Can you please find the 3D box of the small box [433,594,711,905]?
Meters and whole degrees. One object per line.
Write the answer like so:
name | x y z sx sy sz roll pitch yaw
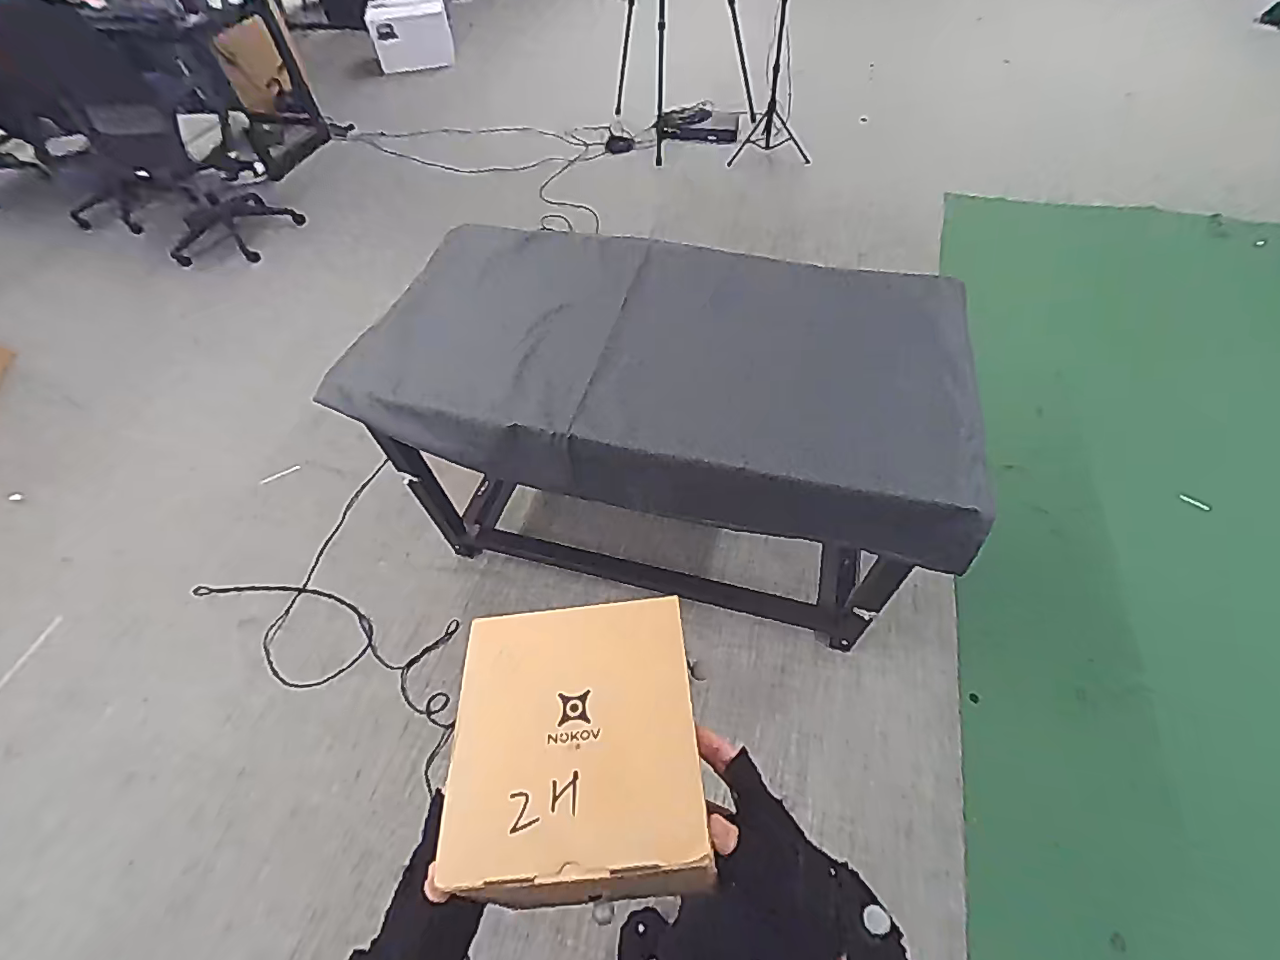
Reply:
small box | -0.037 0.214 0.427 0.168 0.176 0.179 -7 49 2
